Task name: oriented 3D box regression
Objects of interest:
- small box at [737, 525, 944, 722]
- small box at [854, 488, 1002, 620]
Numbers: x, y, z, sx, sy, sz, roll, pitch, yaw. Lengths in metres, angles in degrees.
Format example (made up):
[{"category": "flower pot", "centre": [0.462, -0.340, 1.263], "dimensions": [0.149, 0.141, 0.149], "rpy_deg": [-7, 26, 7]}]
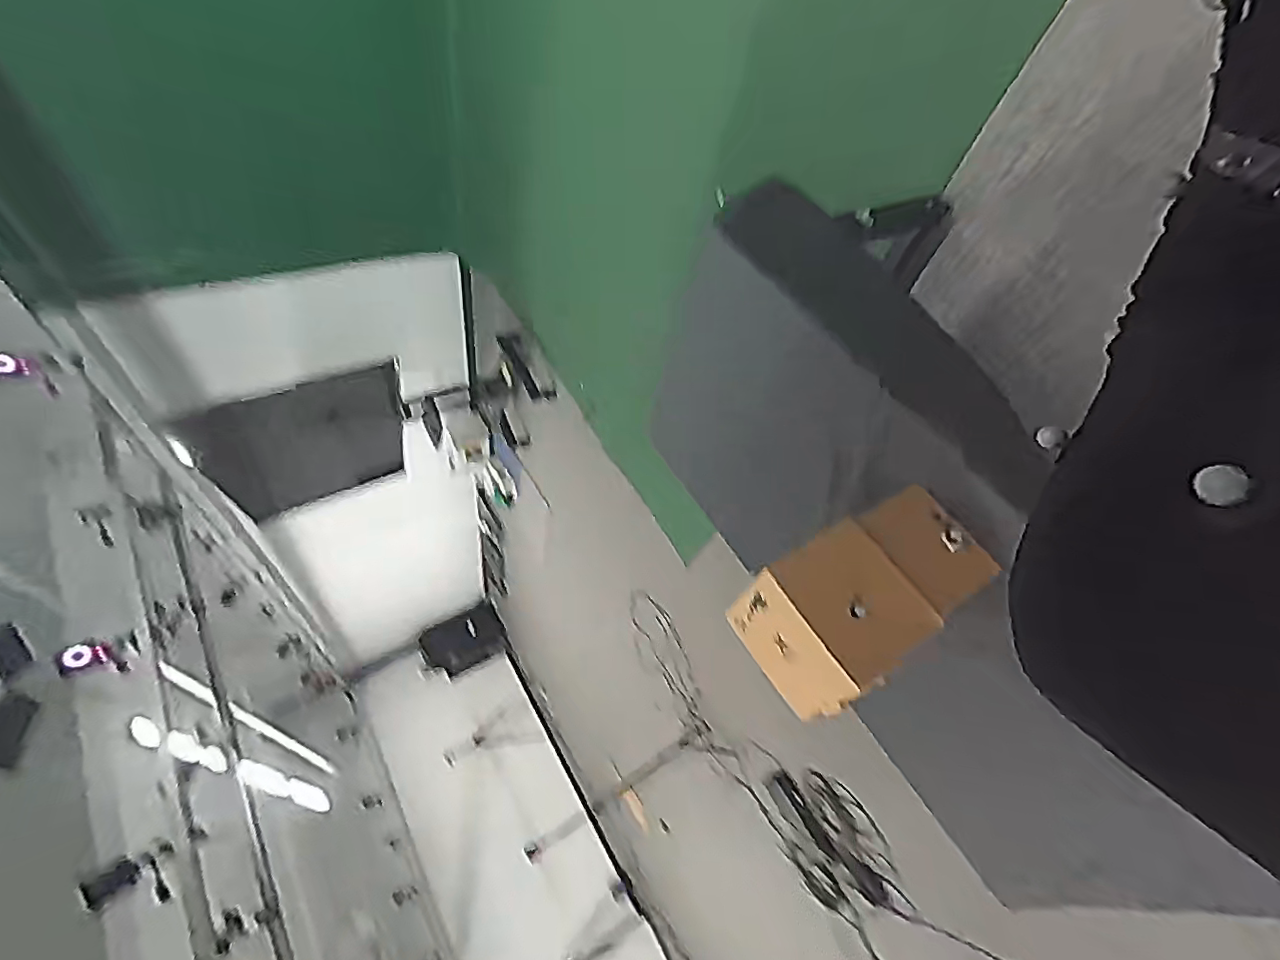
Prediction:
[{"category": "small box", "centre": [0.268, 0.192, 0.743], "dimensions": [0.179, 0.176, 0.168], "rpy_deg": [53, 153, 27]}, {"category": "small box", "centre": [0.398, 0.143, 0.825], "dimensions": [0.168, 0.176, 0.179], "rpy_deg": [52, 149, 26]}]
